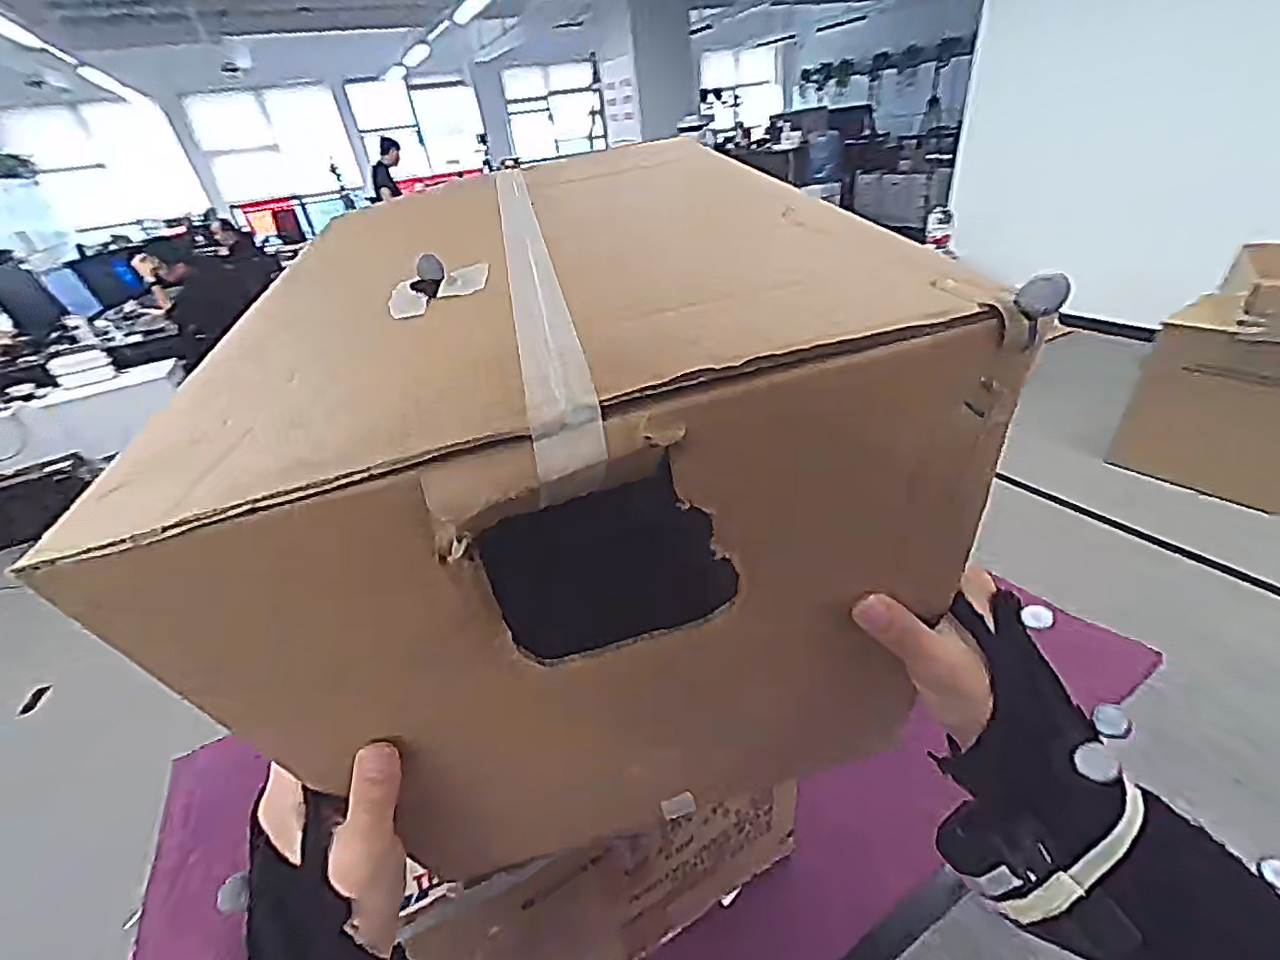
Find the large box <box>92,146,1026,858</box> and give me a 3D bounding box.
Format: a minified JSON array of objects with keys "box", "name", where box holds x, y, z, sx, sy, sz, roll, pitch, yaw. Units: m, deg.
[{"box":[-0.040,-0.023,0.413,0.320,0.320,0.408,-16,41,-4],"name":"large box"}]
